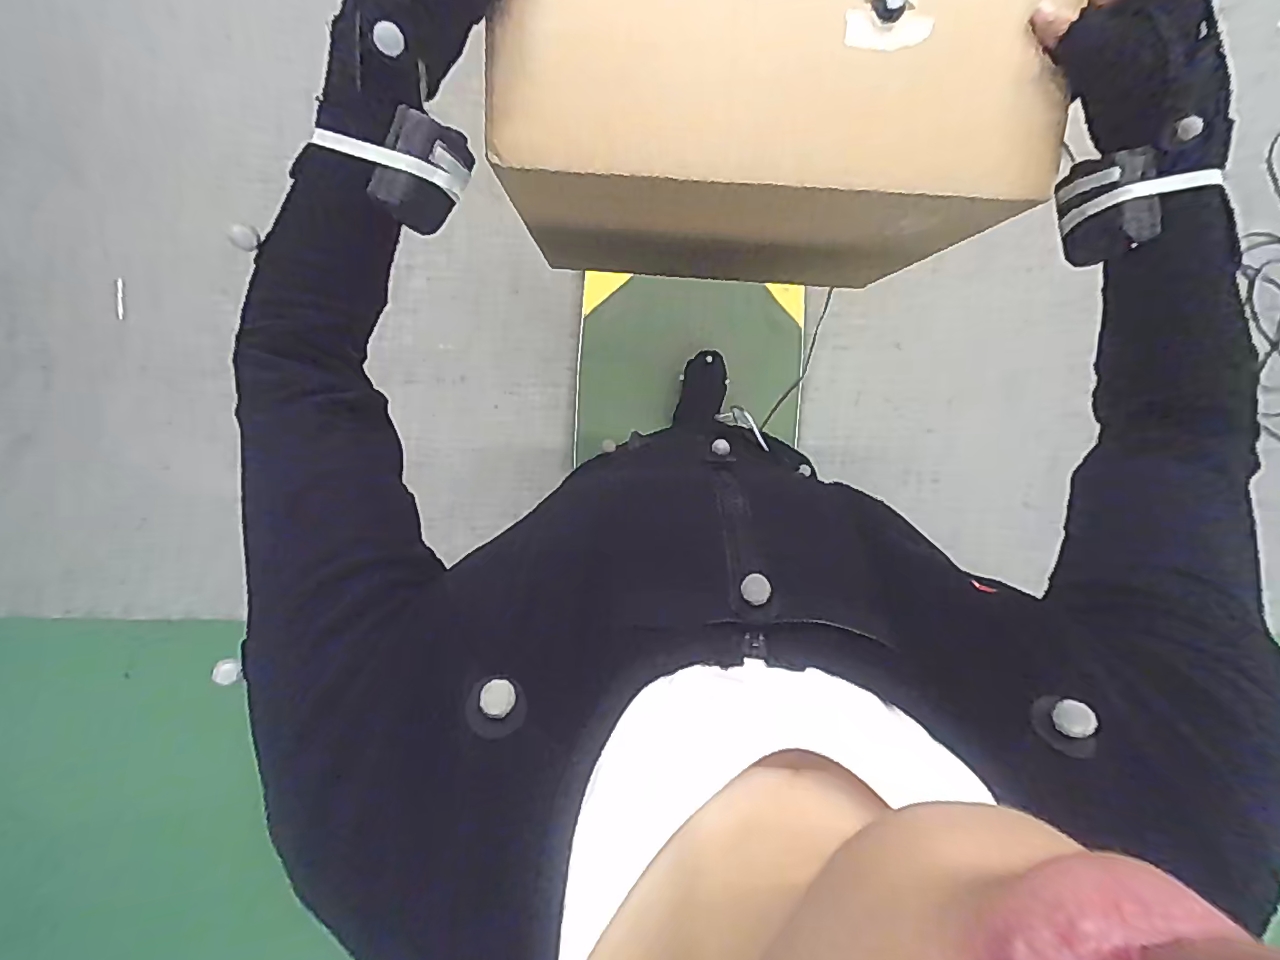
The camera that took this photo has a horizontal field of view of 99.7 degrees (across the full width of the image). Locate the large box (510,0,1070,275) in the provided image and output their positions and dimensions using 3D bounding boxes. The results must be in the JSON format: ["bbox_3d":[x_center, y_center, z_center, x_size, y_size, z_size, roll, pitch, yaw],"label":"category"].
[{"bbox_3d":[0.102,-0.396,0.521,0.408,0.320,0.320,2,99,-3],"label":"large box"}]
